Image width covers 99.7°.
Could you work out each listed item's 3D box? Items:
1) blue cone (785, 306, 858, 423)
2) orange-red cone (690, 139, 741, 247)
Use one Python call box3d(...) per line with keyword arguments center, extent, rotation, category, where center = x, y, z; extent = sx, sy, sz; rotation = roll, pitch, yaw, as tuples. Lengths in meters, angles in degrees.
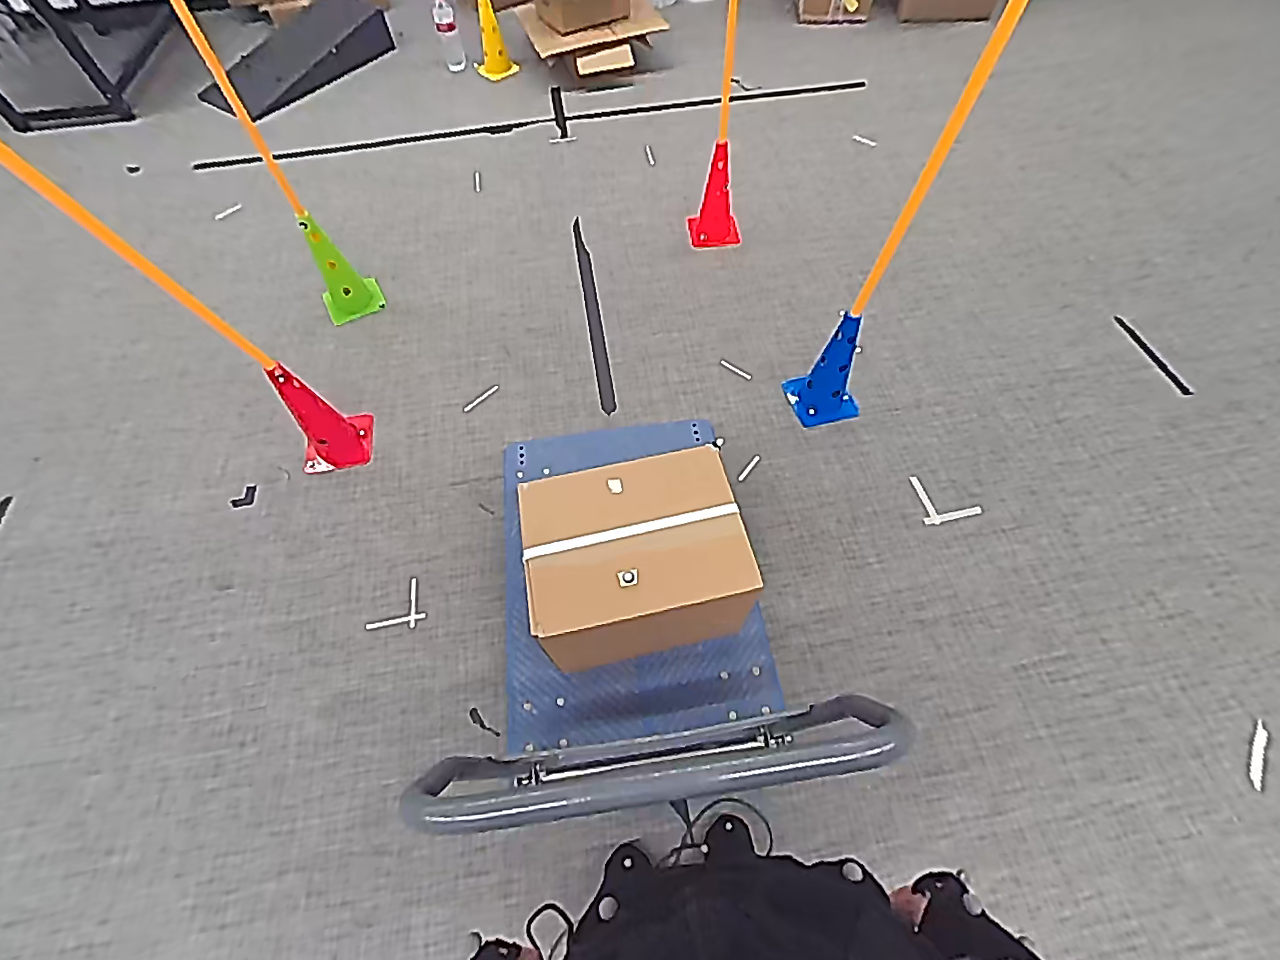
box3d(center=(0.584, -0.355, 1.621), extent=(0.193, 0.380, 0.192), rotation=(-12, 59, -6), category="blue cone")
box3d(center=(0.304, -1.104, 2.057), extent=(0.199, 0.360, 0.198), rotation=(-3, 60, -1), category="orange-red cone")
